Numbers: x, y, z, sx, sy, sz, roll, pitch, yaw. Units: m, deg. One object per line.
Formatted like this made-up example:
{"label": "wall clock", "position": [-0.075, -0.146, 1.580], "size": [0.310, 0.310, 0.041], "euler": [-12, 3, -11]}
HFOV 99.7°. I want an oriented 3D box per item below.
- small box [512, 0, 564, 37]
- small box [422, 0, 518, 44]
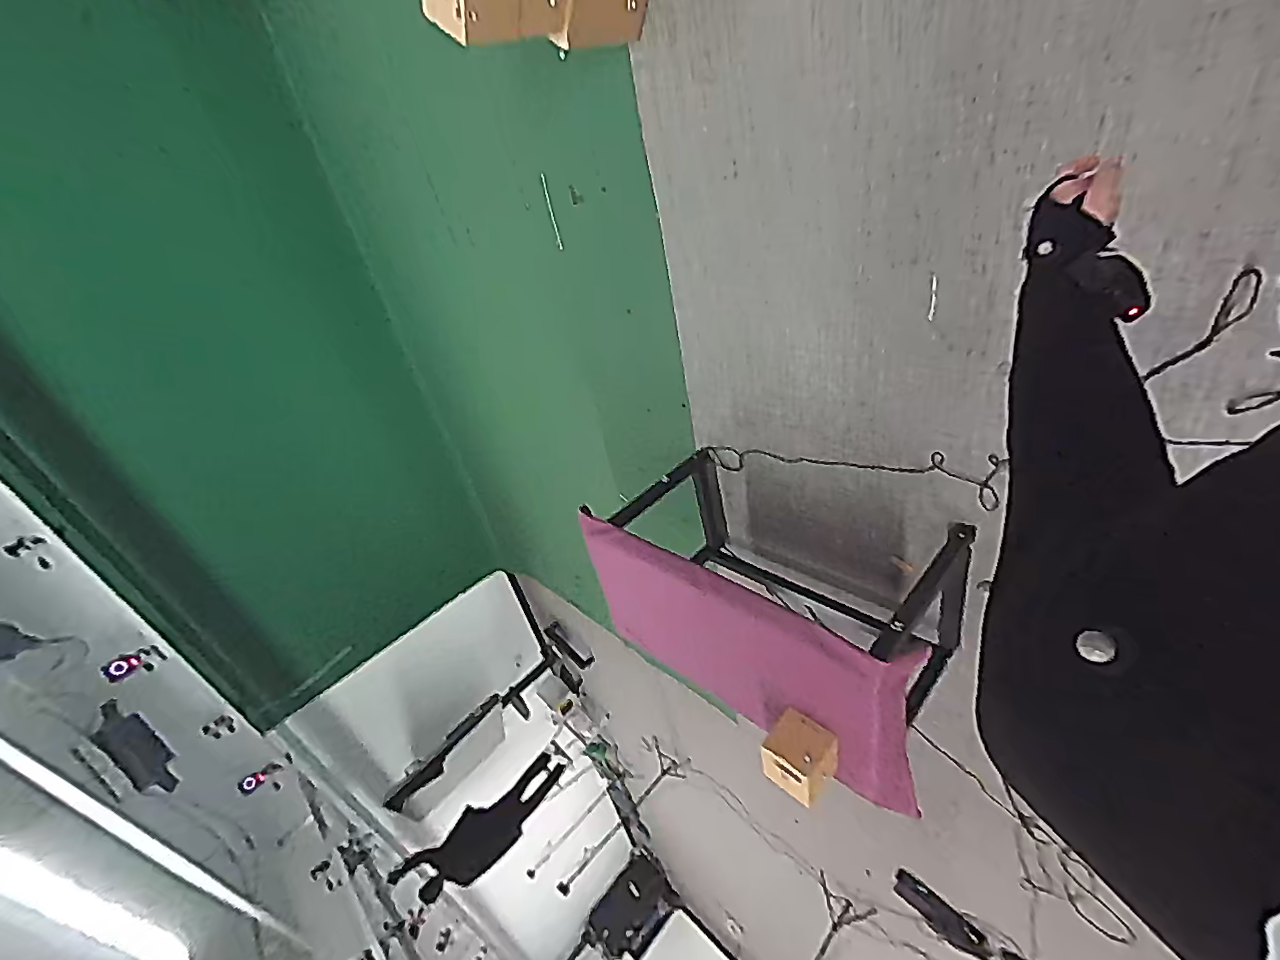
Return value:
{"label": "small box", "position": [-0.319, -1.319, 1.436], "size": [0.179, 0.176, 0.168], "euler": [44, 148, 13]}
{"label": "small box", "position": [-0.423, -1.228, 1.347], "size": [0.179, 0.176, 0.168], "euler": [44, 147, 14]}
